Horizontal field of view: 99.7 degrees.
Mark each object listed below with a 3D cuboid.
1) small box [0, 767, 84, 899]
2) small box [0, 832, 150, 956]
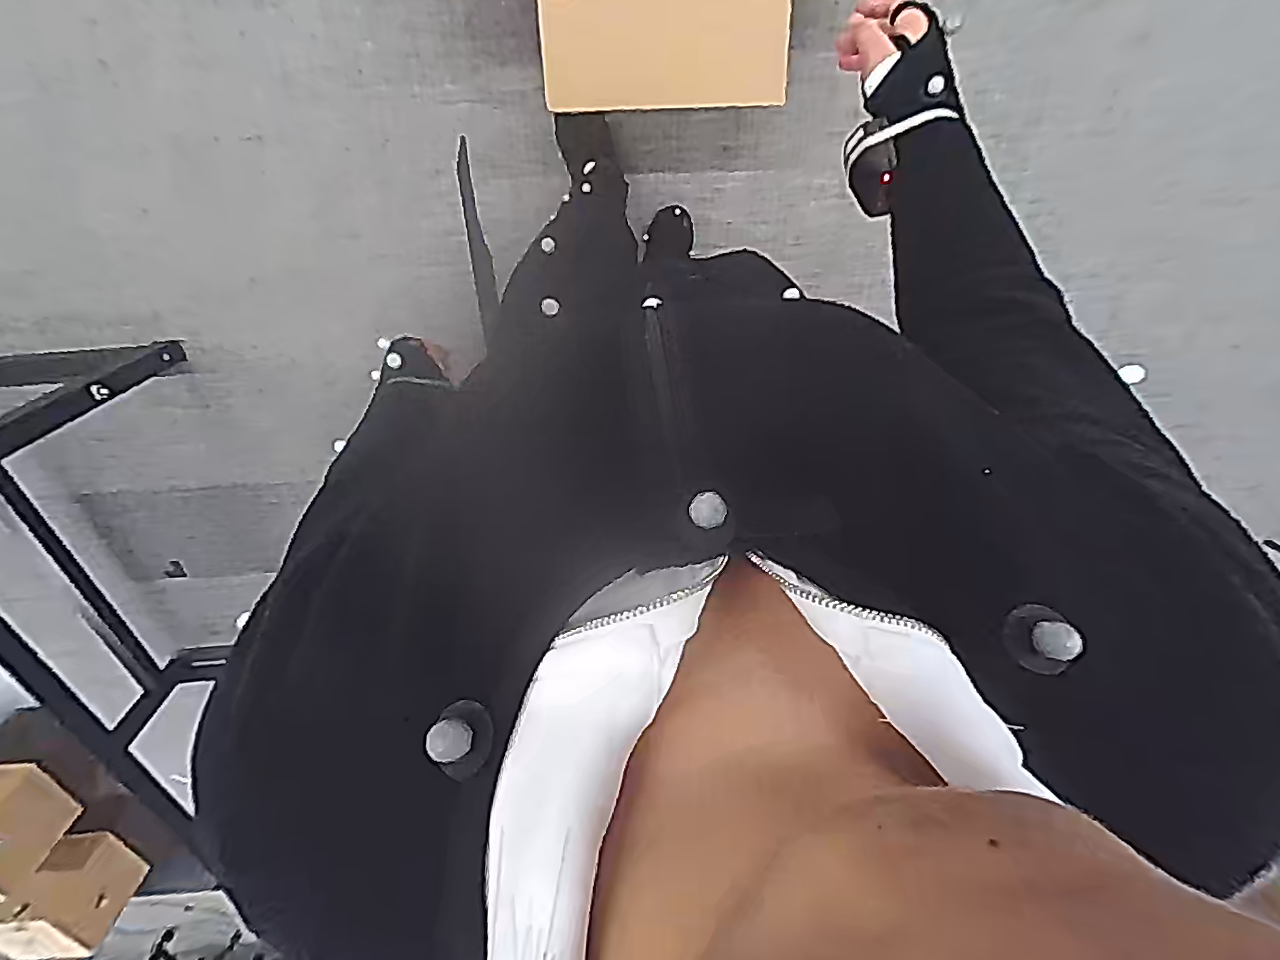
[{"bbox_3d":[-1.258,0.674,1.038,0.168,0.176,0.179,-2,123,-2],"label":"small box"},{"bbox_3d":[-1.249,0.904,1.185,0.168,0.176,0.179,-5,123,-1],"label":"small box"}]
